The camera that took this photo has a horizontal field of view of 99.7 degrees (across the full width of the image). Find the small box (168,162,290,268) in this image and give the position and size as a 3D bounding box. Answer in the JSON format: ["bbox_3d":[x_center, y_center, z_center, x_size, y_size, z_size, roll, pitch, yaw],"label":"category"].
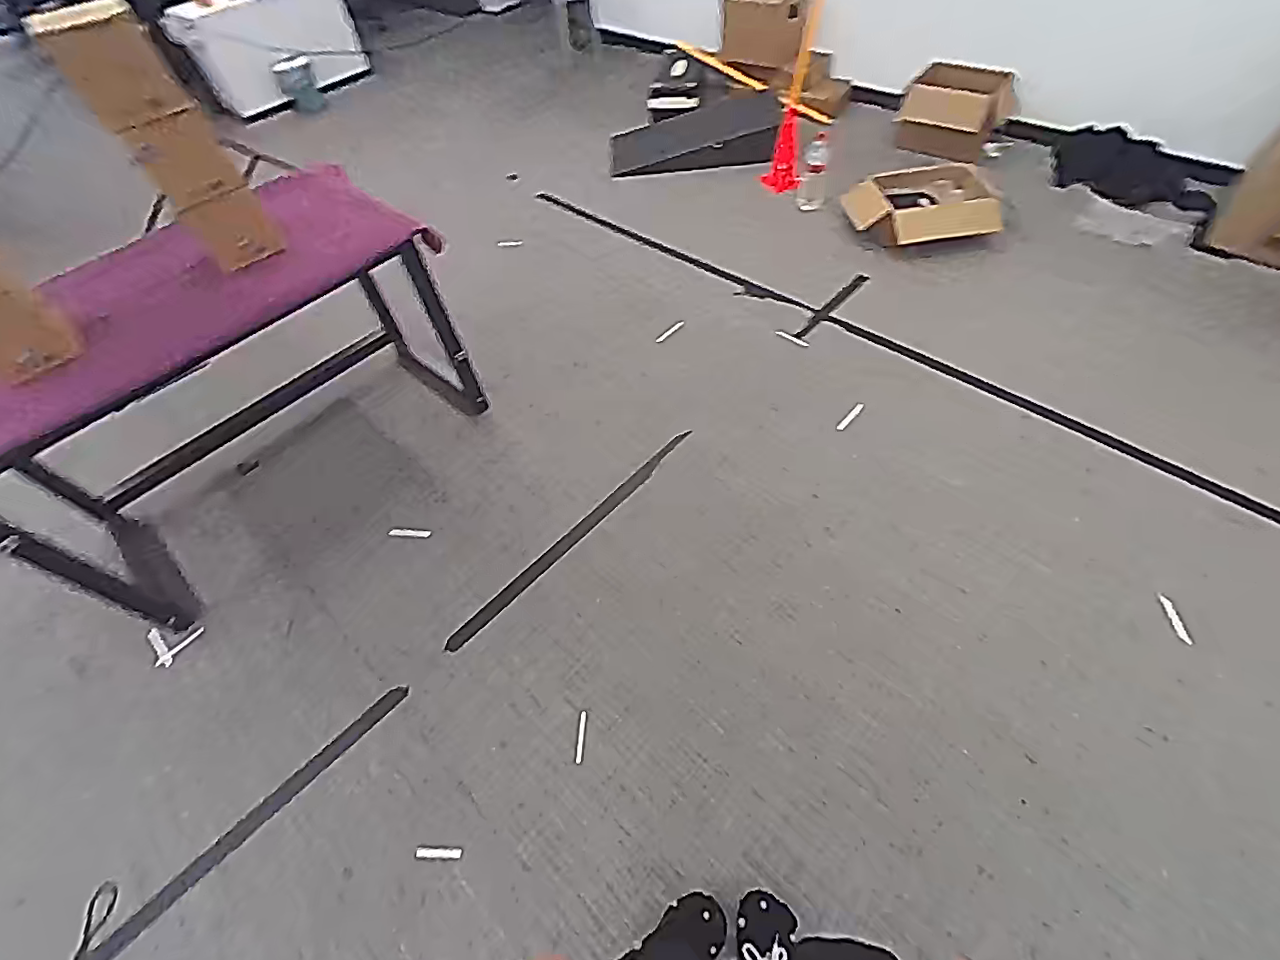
[{"bbox_3d":[-1.049,-0.676,1.389,0.168,0.176,0.179,-37,60,-19],"label":"small box"}]

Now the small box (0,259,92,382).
[{"bbox_3d":[-1.379,-0.347,1.188,0.168,0.176,0.179,-41,62,-21],"label":"small box"}]

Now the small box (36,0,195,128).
[{"bbox_3d":[-1.074,-0.859,1.119,0.168,0.176,0.179,-35,57,-19],"label":"small box"}]

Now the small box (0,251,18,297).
[{"bbox_3d":[-1.392,-0.441,1.054,0.168,0.176,0.179,-40,60,-21],"label":"small box"}]
